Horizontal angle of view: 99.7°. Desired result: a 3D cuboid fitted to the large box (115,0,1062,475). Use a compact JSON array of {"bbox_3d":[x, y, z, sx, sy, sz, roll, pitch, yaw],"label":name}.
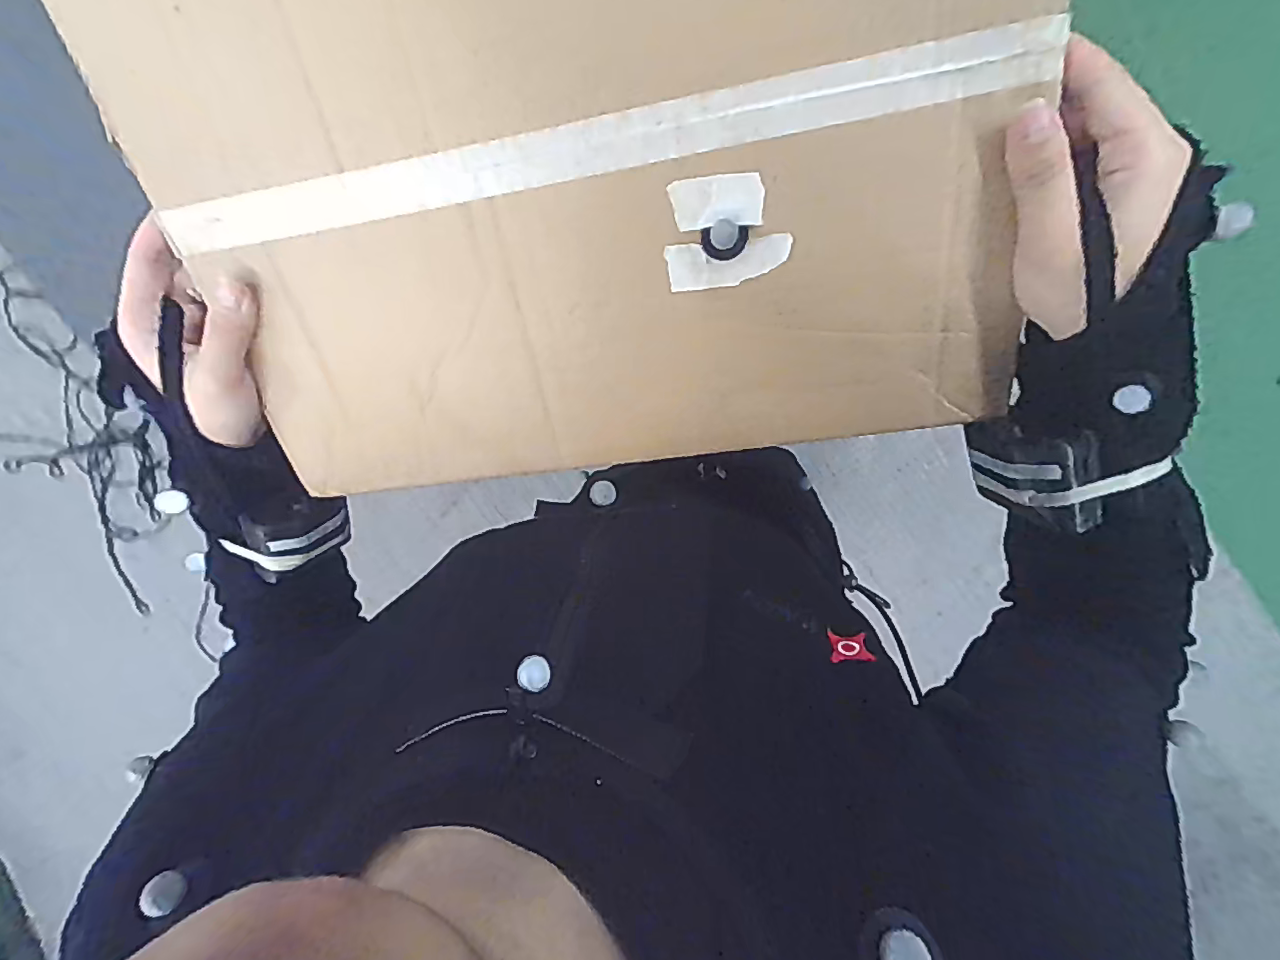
[{"bbox_3d":[-0.015,-0.230,0.382,0.408,0.320,0.320,-7,118,7],"label":"large box"}]
